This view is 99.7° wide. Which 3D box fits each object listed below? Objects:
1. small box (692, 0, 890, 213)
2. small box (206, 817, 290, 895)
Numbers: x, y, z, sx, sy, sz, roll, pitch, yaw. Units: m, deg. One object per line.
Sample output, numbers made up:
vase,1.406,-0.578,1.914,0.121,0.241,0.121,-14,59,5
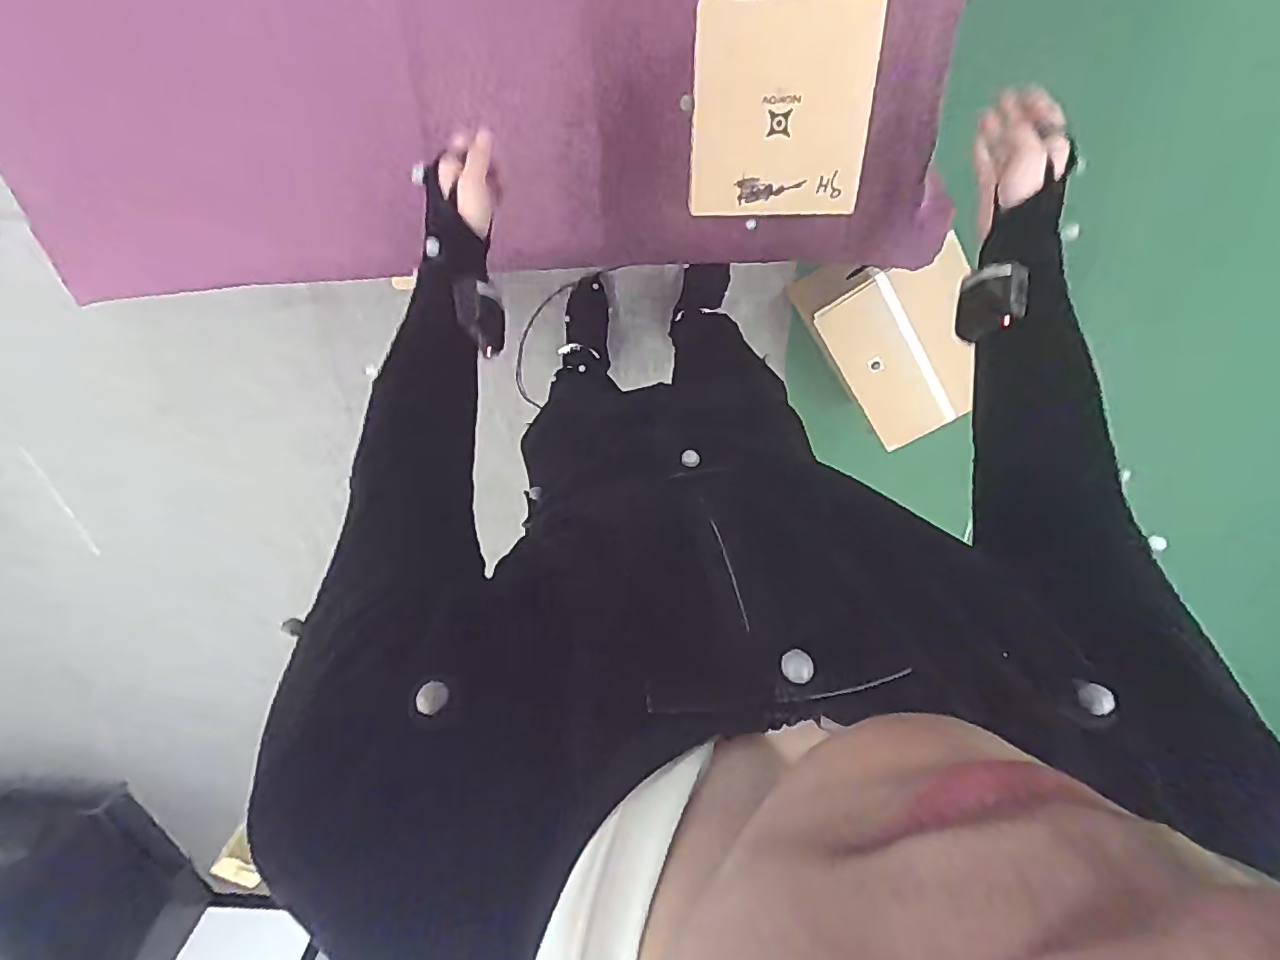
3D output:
small box,0.141,-0.384,0.577,0.168,0.176,0.179,2,118,5
small box,-1.443,1.389,2.002,0.168,0.176,0.179,39,116,-17
